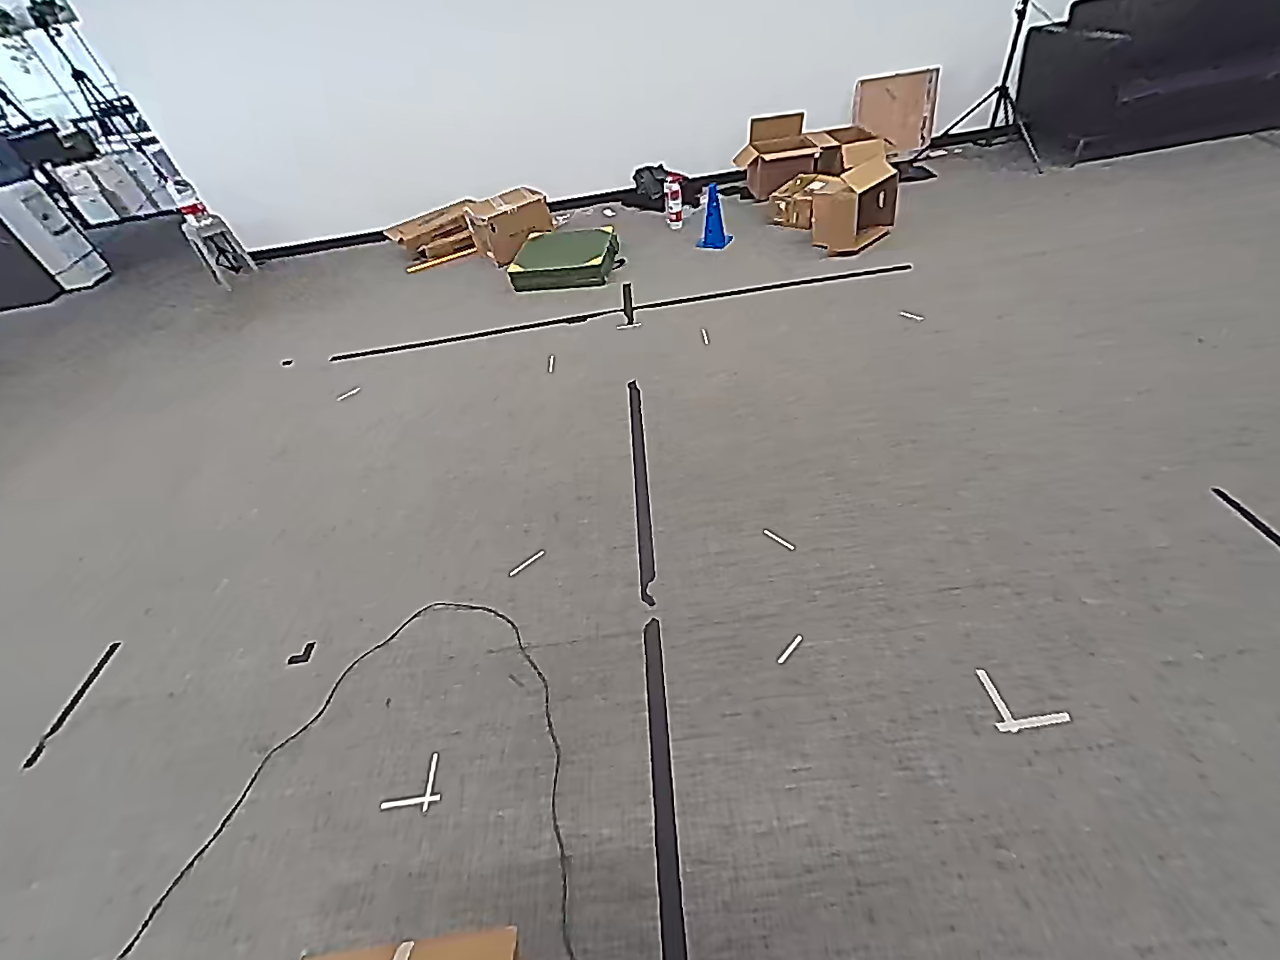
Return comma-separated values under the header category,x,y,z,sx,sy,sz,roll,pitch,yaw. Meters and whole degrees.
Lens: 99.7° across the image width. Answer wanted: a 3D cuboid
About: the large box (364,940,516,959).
category,x,y,z,sx,sy,sz,roll,pitch,yaw
large box,-0.301,0.827,0.577,0.320,0.408,0.320,-4,88,-5
